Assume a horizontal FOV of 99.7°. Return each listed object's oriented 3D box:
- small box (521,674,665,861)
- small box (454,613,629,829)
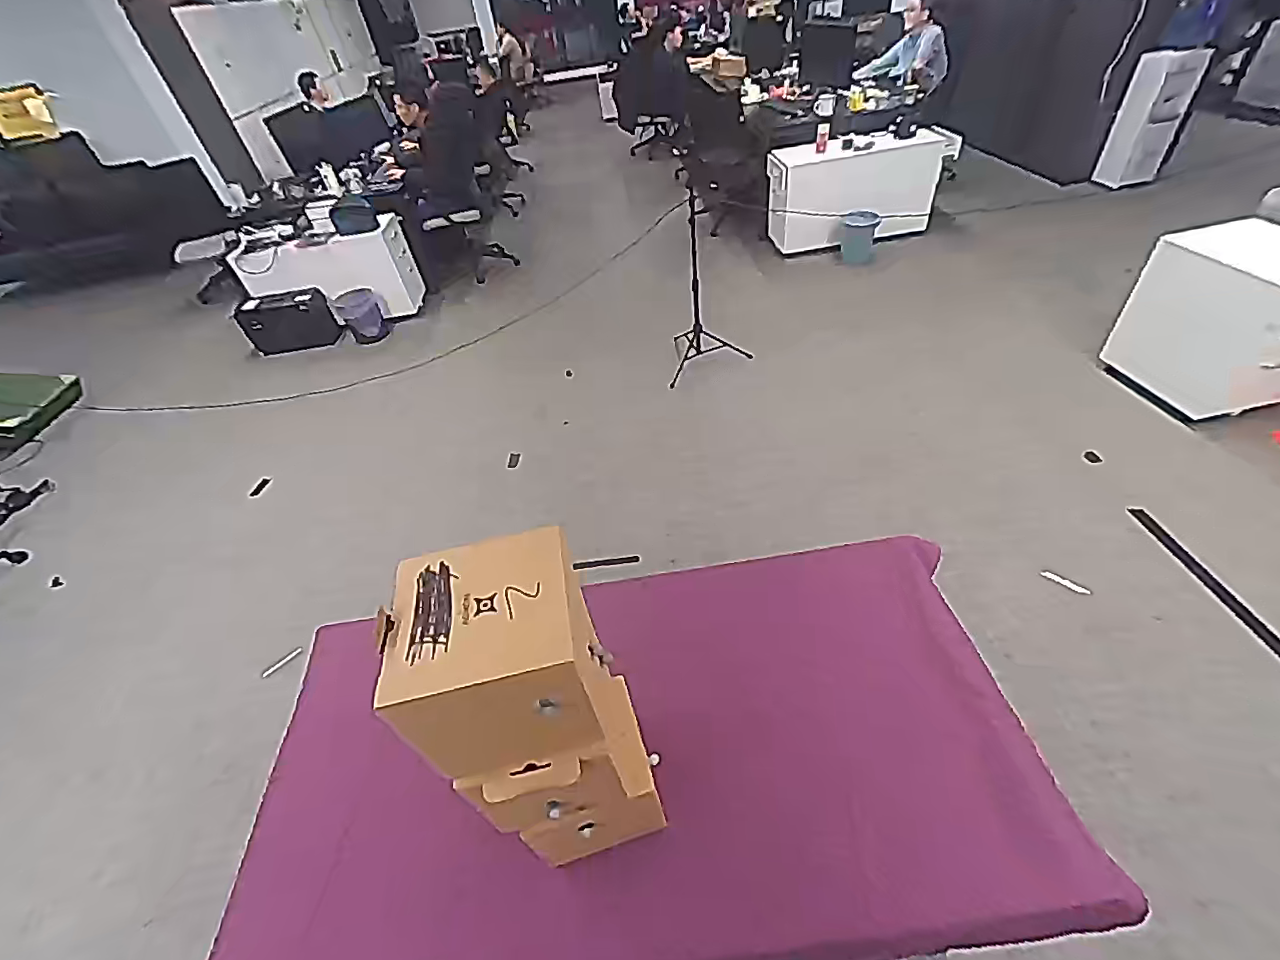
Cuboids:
[{"bbox_3d":[-0.073,0.418,0.783,0.179,0.176,0.168,-16,44,-7],"label":"small box"},{"bbox_3d":[-0.116,0.300,0.675,0.168,0.176,0.179,-13,44,-2],"label":"small box"}]
